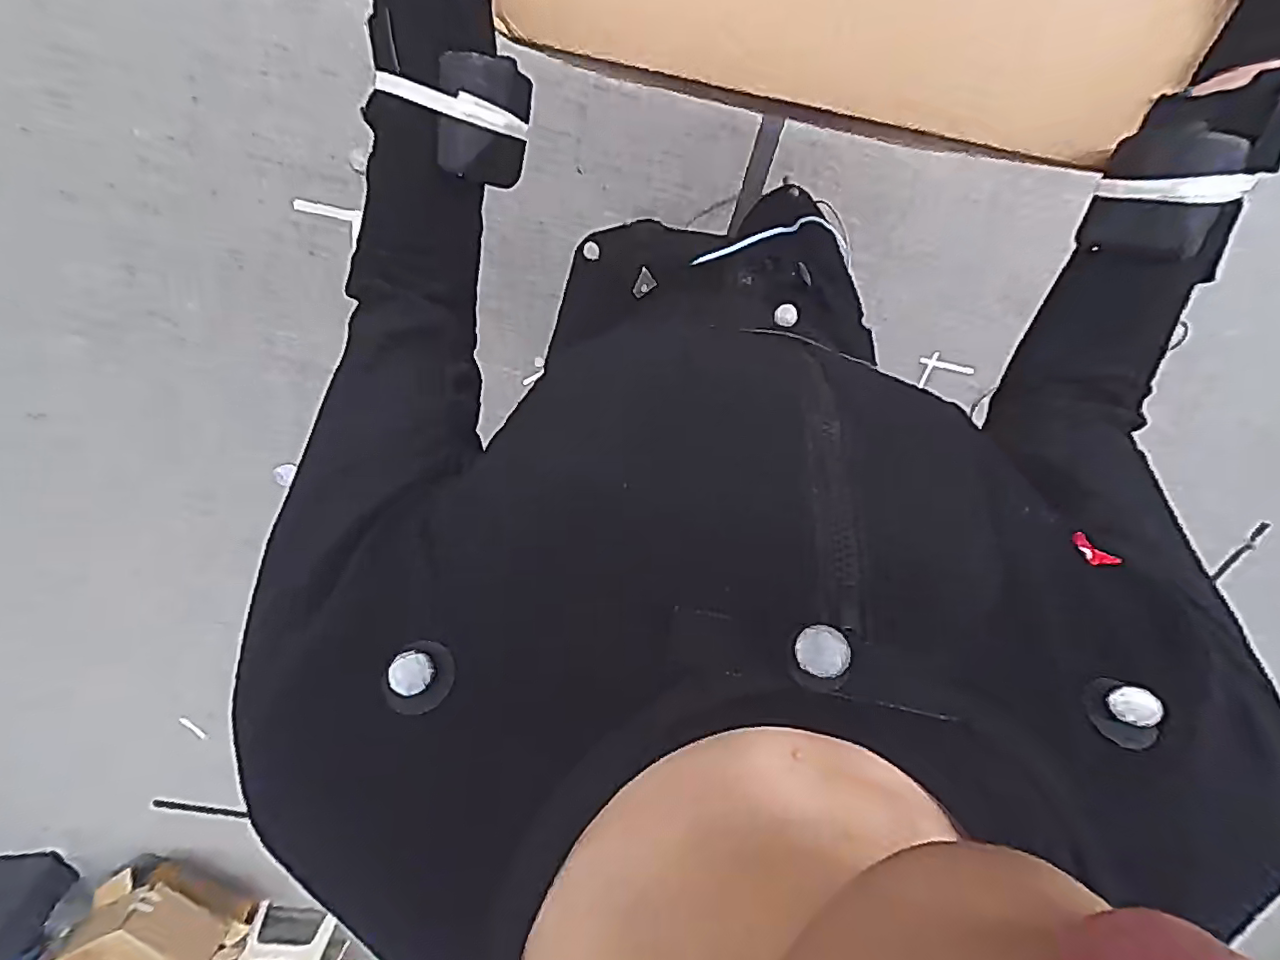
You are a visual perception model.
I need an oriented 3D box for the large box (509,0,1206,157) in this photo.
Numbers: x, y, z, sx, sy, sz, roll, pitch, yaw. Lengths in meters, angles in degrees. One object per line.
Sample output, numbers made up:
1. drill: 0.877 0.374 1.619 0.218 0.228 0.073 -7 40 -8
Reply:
1. large box: 0.145 -0.448 0.377 0.408 0.320 0.320 10 126 -3
